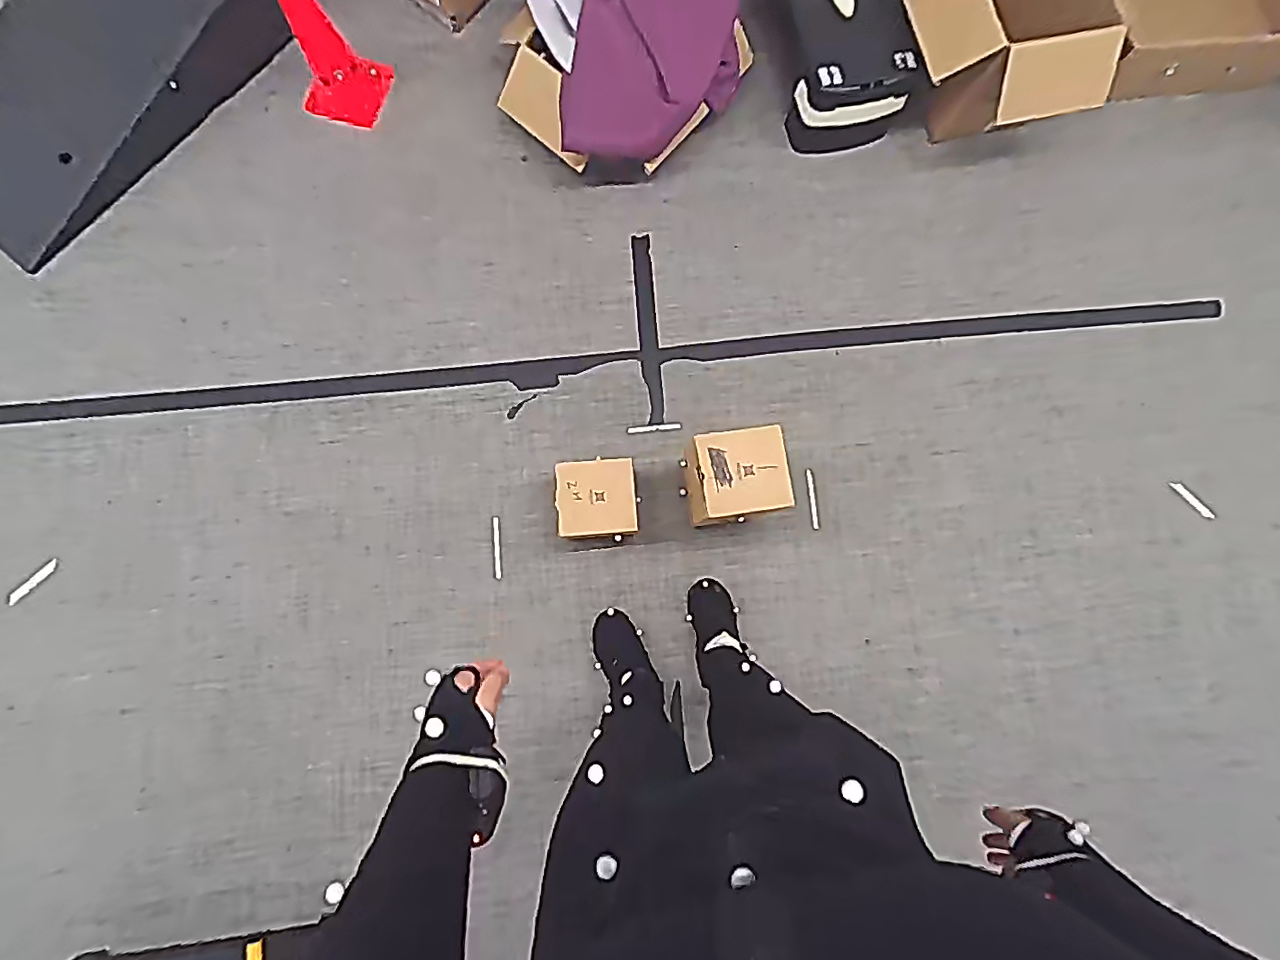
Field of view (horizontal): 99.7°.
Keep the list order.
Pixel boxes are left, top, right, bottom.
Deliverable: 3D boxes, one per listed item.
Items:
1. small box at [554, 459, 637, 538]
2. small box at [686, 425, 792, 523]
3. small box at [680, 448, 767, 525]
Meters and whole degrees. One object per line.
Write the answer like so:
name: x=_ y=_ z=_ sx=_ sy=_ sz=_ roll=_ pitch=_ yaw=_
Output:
small box: x=-0.103 y=0.048 z=1.264 sx=0.179 sy=0.176 sz=0.168 roll=-4 pitch=82 yaw=-3
small box: x=0.194 y=-0.006 z=1.120 sx=0.179 sy=0.176 sz=0.168 roll=-7 pitch=82 yaw=-4
small box: x=0.192 y=0.013 z=1.285 sx=0.168 sy=0.176 sz=0.179 roll=-7 pitch=83 yaw=-4
